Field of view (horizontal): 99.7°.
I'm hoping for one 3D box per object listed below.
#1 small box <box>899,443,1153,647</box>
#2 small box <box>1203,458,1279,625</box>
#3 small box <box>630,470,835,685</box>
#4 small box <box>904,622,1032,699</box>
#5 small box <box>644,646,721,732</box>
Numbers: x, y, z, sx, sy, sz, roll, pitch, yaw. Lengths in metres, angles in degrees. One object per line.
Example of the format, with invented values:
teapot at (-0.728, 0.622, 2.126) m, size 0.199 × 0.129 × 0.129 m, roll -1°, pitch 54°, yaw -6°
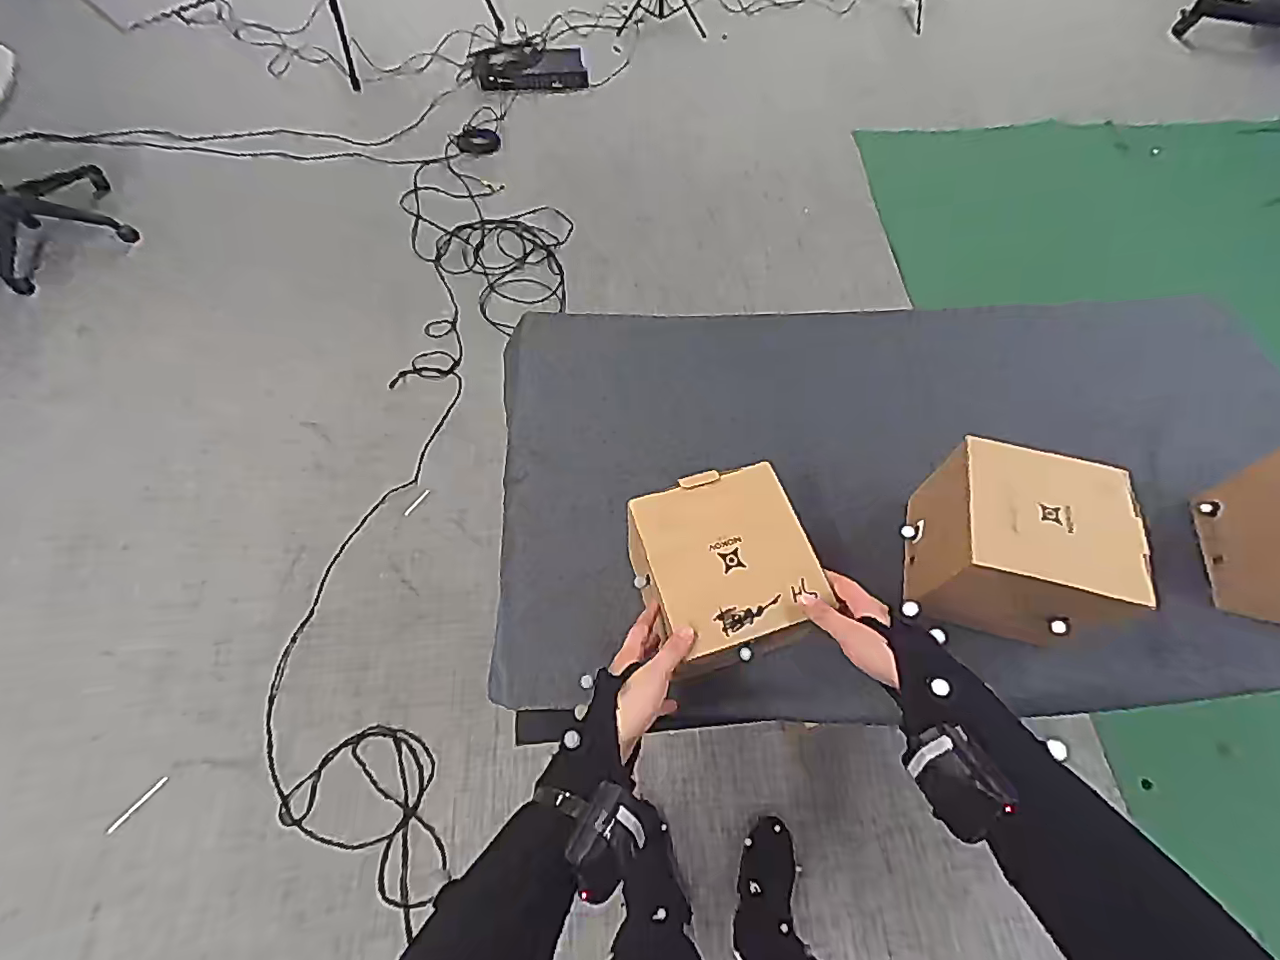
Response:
small box at (0.432, 0.084, 0.637) m, size 0.179 × 0.176 × 0.168 m, roll 13°, pitch 60°, yaw 7°
small box at (0.829, 0.080, 0.636) m, size 0.179 × 0.176 × 0.168 m, roll 14°, pitch 61°, yaw 8°
small box at (0.087, 0.118, 0.619) m, size 0.168 × 0.176 × 0.179 m, roll -16°, pitch 65°, yaw -8°
small box at (0.768, 0.415, 1.285) m, size 0.168 × 0.176 × 0.179 m, roll -8°, pitch 63°, yaw -5°
small box at (0.092, 0.486, 1.250) m, size 0.168 × 0.176 × 0.179 m, roll -1°, pitch 62°, yaw 0°
